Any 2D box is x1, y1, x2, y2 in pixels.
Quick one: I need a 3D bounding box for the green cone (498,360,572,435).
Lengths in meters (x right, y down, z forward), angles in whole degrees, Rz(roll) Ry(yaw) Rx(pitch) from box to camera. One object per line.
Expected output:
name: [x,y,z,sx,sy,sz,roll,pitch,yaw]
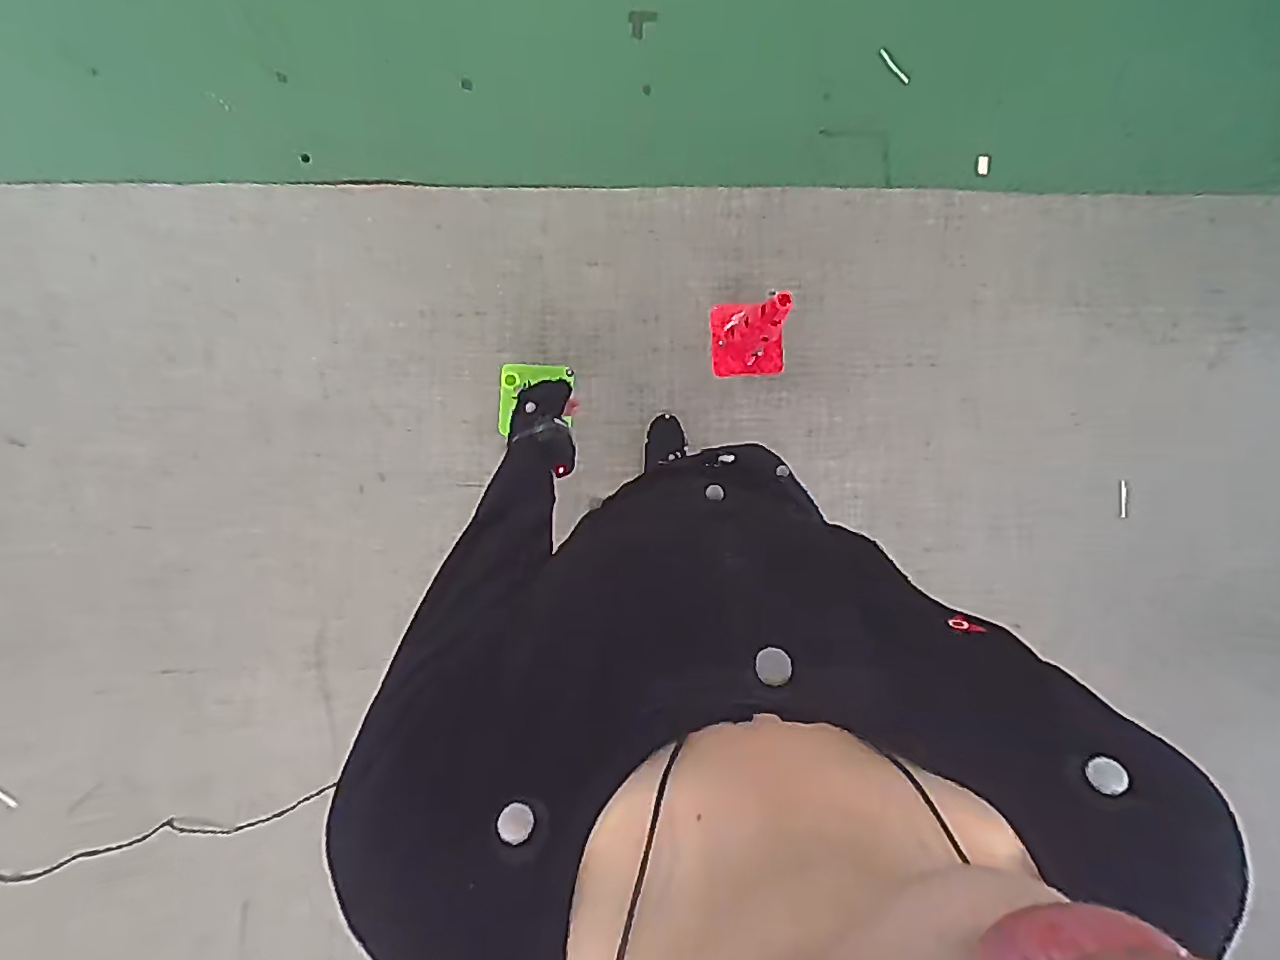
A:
green cone: [-0.283,-0.219,1.310,0.200,0.368,0.202,2,92,-1]
